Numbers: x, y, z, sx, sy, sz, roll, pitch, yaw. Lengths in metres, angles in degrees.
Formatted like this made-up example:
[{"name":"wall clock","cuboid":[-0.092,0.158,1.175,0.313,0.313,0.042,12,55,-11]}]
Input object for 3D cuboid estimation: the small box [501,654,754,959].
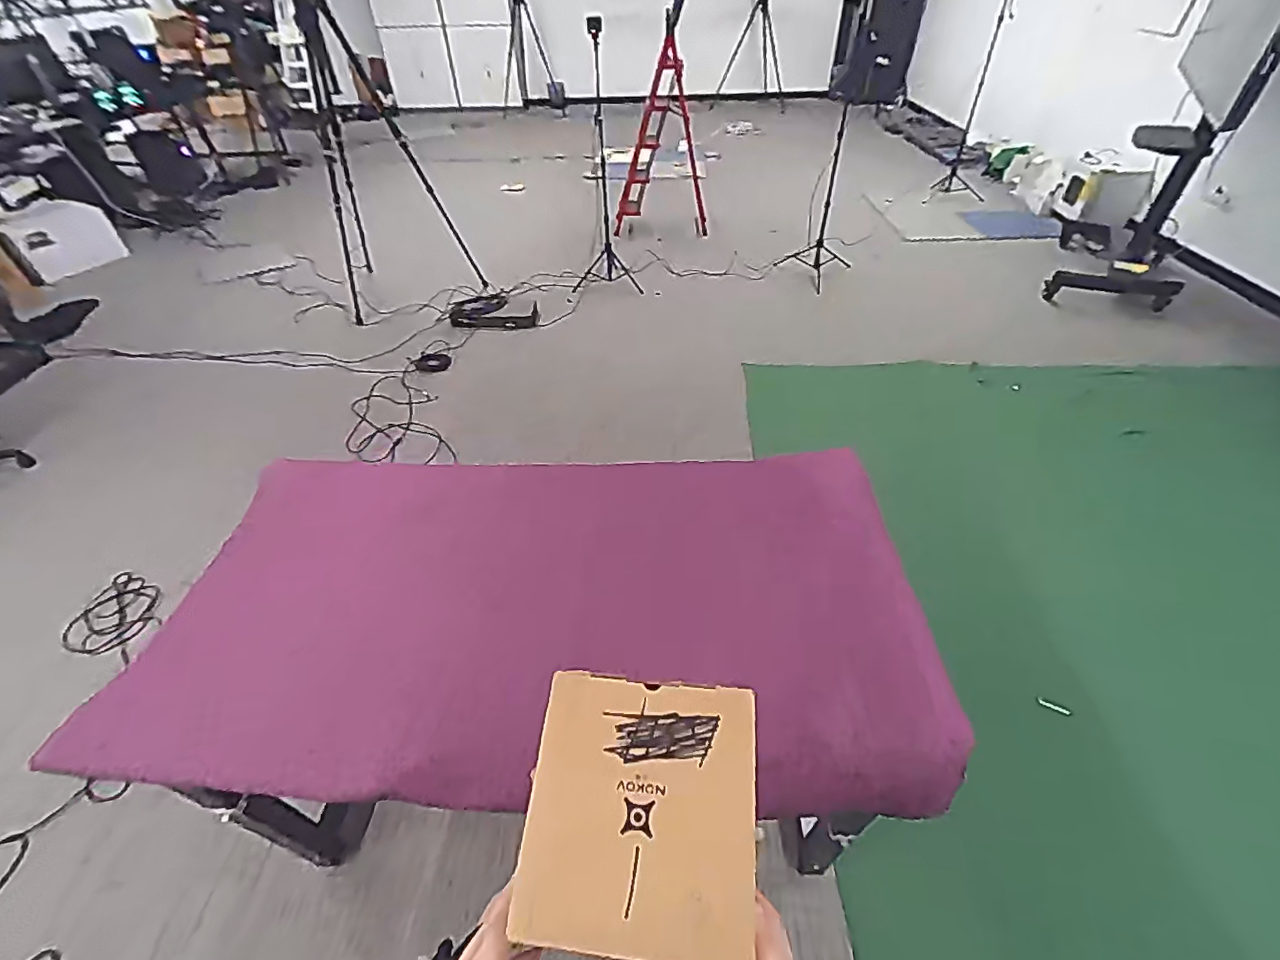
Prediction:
[{"name":"small box","cuboid":[0.004,0.265,0.455,0.168,0.176,0.179,3,57,7]}]
